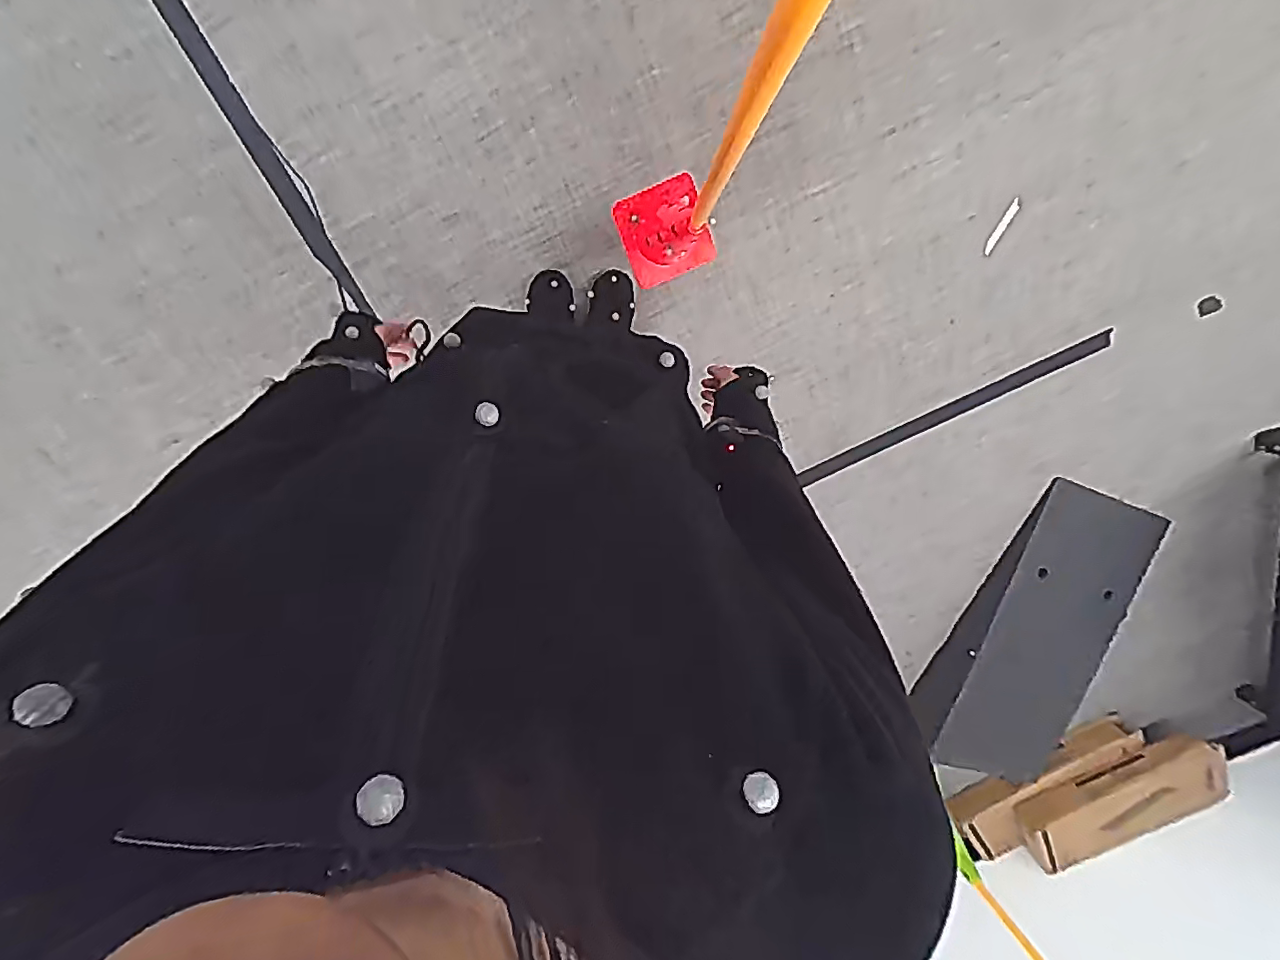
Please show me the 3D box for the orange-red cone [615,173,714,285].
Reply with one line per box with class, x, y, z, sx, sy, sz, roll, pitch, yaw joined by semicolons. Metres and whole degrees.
orange-red cone;0.077;-0.510;1.089;0.198;0.360;0.199;-21;114;3
